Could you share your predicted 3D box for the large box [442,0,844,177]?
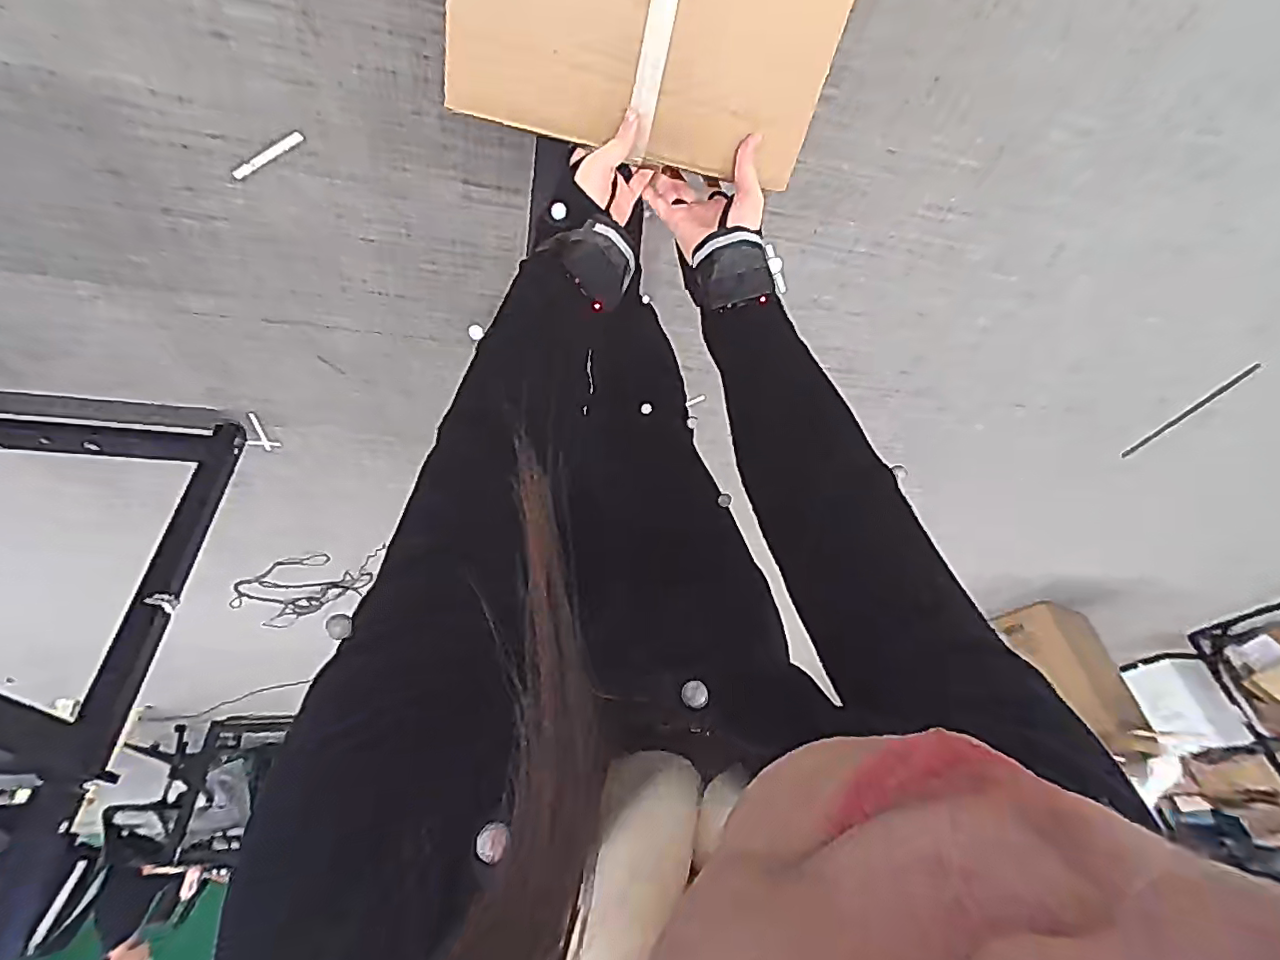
[{"bbox_3d":[0.008,-0.540,0.474,0.320,0.320,0.408,4,127,-17],"label":"large box"}]
